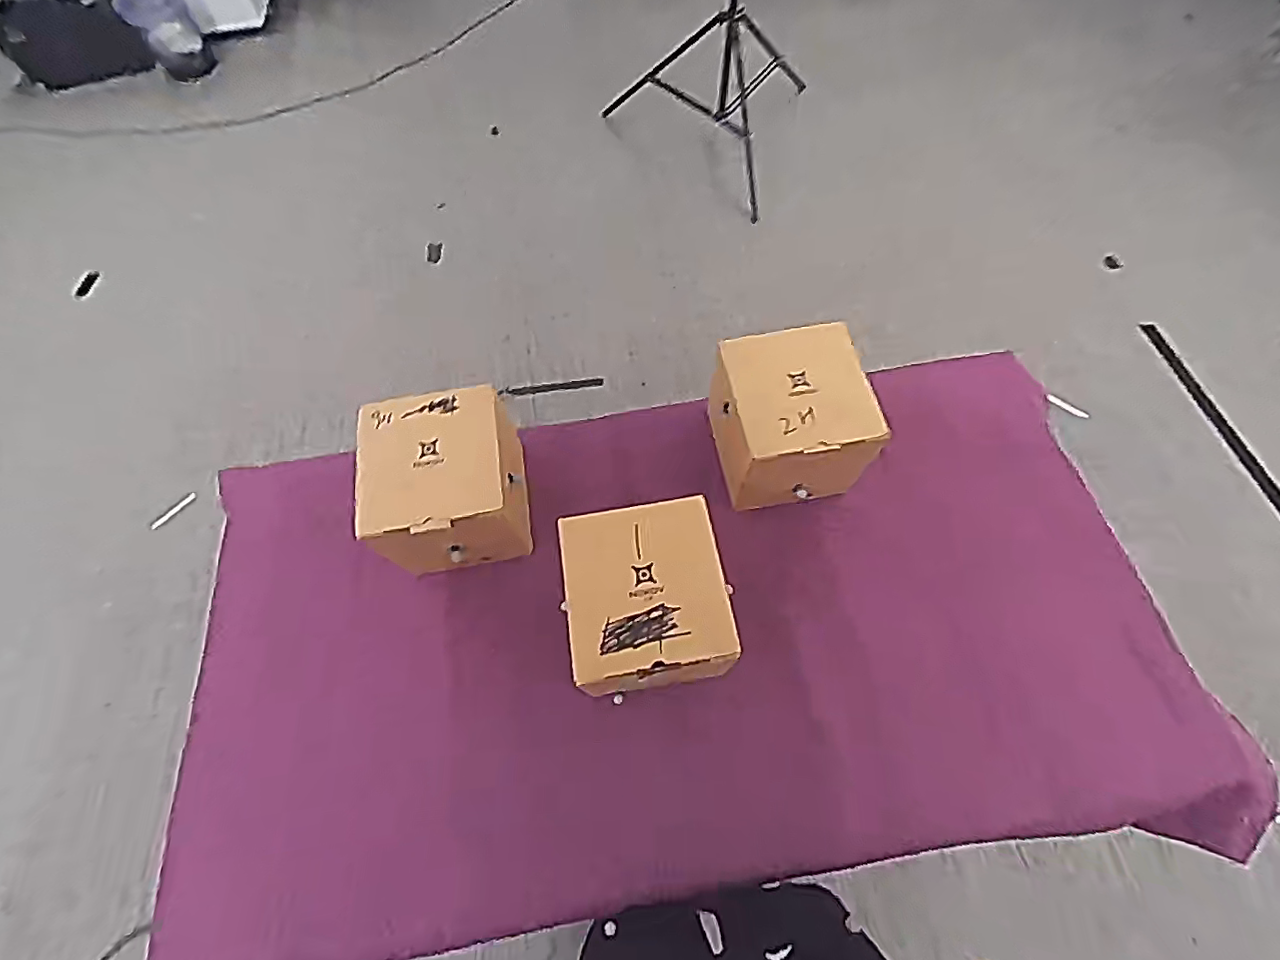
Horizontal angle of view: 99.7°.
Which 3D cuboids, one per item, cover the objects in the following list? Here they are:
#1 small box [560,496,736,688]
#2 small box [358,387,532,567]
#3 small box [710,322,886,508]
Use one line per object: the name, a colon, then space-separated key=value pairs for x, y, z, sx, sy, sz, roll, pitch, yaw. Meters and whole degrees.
small box: x=0.007 y=0.140 z=0.634 sx=0.168 sy=0.176 sz=0.179 roll=-9 pitch=64 yaw=-2
small box: x=-0.244 y=0.007 z=0.706 sx=0.168 sy=0.176 sz=0.179 roll=-10 pitch=67 yaw=-3
small box: x=0.195 y=-0.081 z=0.732 sx=0.168 sy=0.176 sz=0.179 roll=-10 pitch=66 yaw=-2
